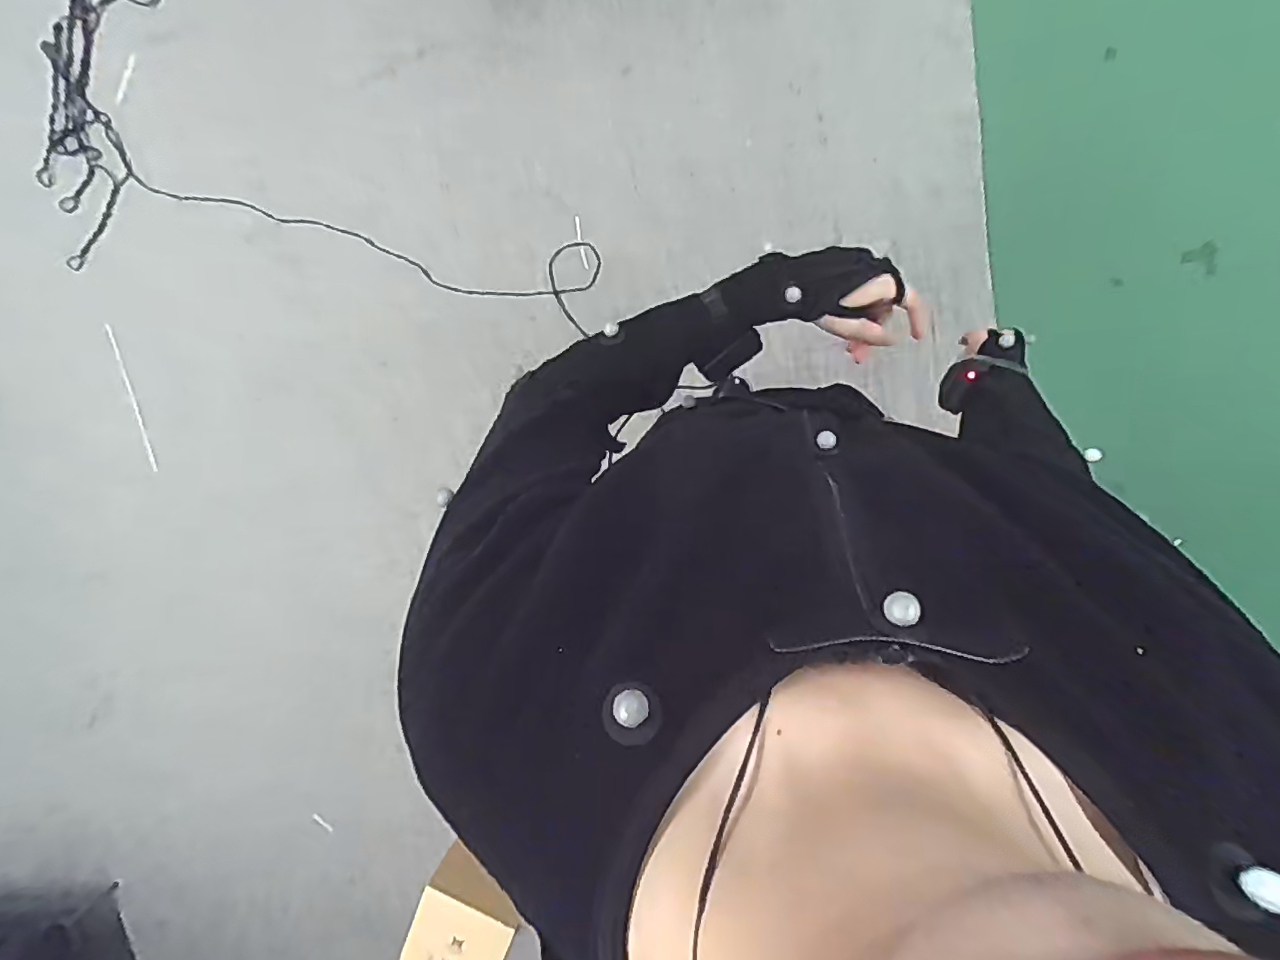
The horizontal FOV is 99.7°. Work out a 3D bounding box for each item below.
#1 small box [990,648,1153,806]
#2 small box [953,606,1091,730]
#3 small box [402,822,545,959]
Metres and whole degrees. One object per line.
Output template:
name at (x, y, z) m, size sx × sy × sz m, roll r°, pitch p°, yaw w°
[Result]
small box at (0.734, 0.405, 0.921) m, size 0.168 × 0.176 × 0.179 m, roll -18°, pitch 95°, yaw 11°
small box at (0.766, 0.372, 1.078) m, size 0.179 × 0.176 × 0.168 m, roll -19°, pitch 95°, yaw 11°
small box at (-0.286, 0.762, 0.963) m, size 0.168 × 0.176 × 0.179 m, roll 23°, pitch 102°, yaw 6°
